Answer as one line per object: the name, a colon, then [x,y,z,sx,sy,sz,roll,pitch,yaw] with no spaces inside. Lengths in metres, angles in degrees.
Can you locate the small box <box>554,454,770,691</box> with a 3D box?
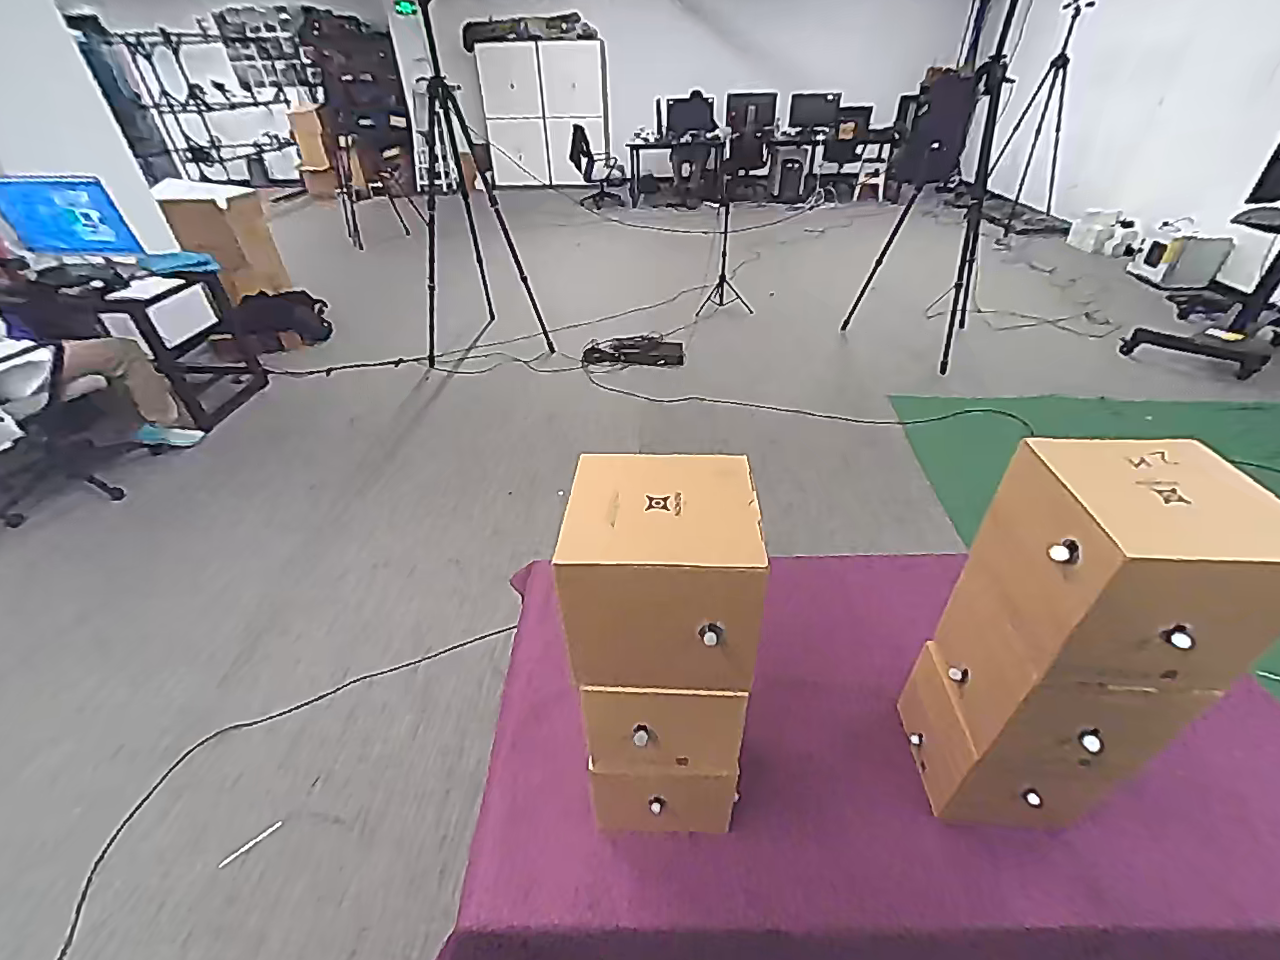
small box: [0.024,0.091,0.541,0.179,0.176,0.168,1,35,4]

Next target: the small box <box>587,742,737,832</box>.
small box: [0.031,0.353,0.734,0.179,0.176,0.168,0,37,3]

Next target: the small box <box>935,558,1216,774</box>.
small box: [0.474,0.214,0.628,0.168,0.176,0.179,3,38,6]

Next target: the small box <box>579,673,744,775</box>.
small box: [0.030,0.222,0.638,0.168,0.176,0.179,1,36,4]

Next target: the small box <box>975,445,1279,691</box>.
small box: [0.467,0.083,0.528,0.168,0.176,0.179,2,37,5]
